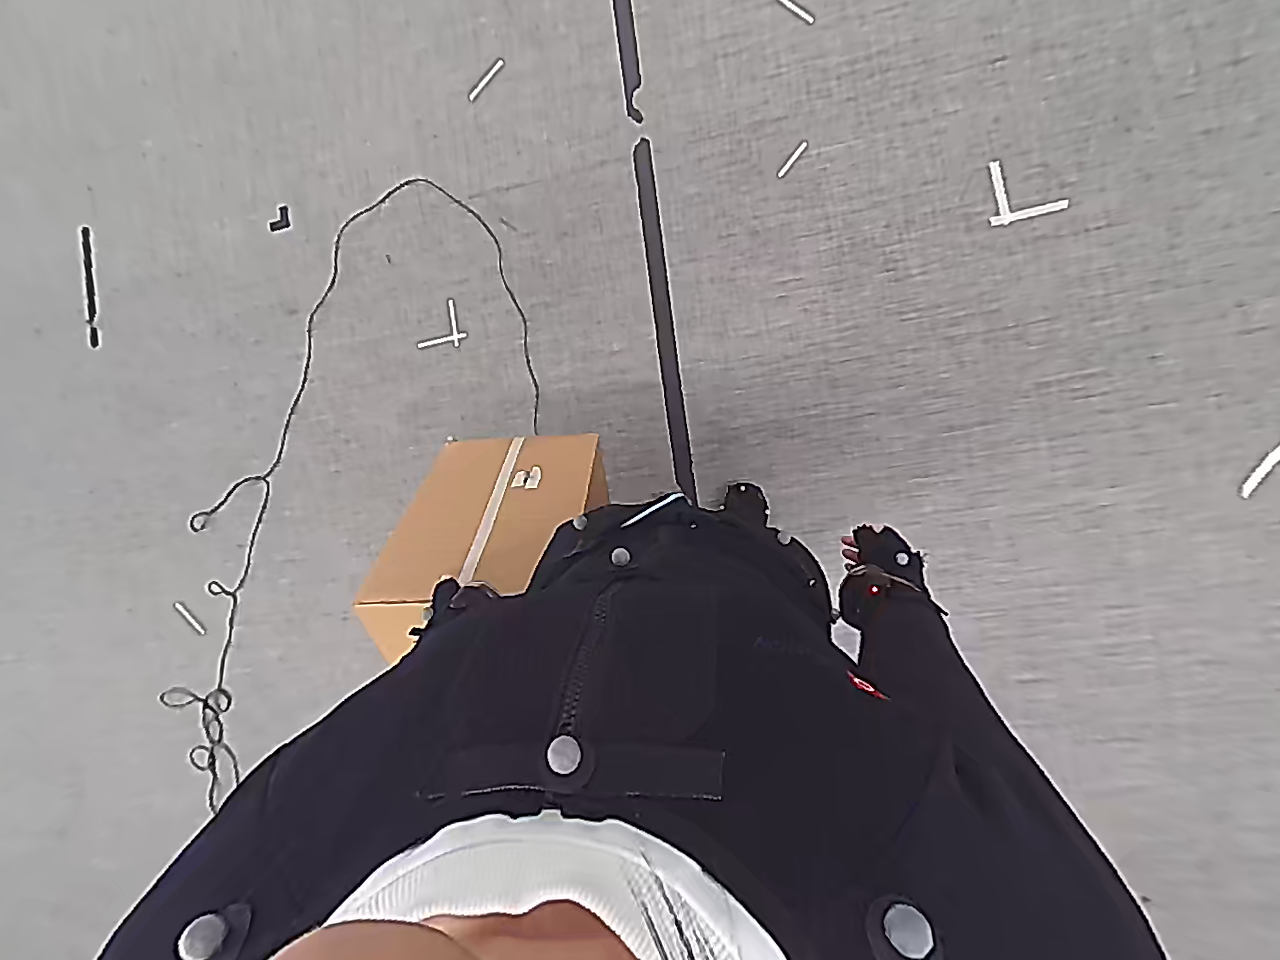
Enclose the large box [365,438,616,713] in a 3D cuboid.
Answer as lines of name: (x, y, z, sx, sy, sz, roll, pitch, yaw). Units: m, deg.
large box: (-0.225, 0.166, 1.002, 0.320, 0.408, 0.320, -2, 128, 5)
